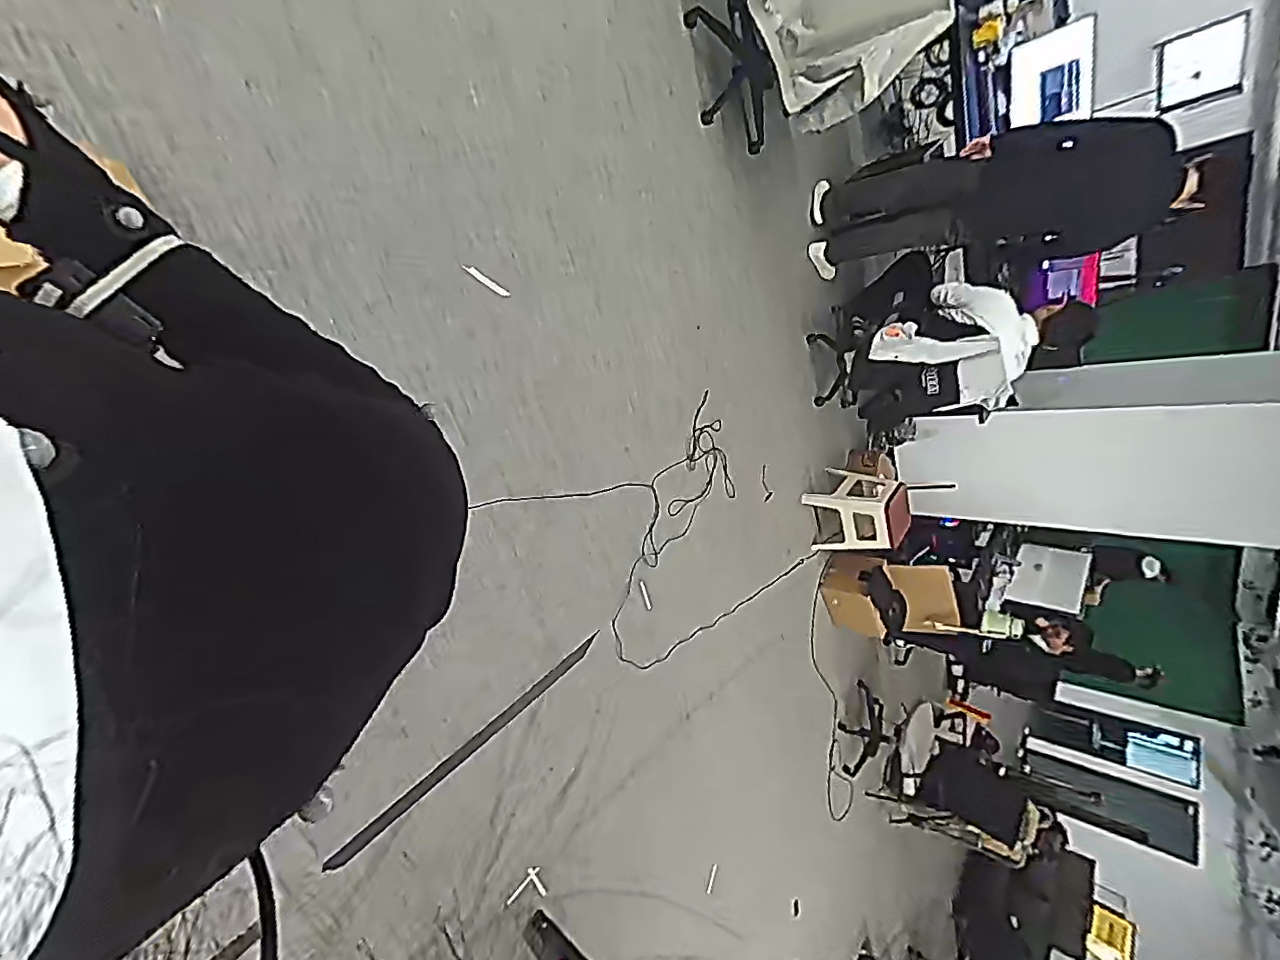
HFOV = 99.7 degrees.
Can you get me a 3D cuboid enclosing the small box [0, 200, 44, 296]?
[{"bbox_3d":[-1.066,-0.379,0.816,0.168,0.176,0.179,-35,116,-38],"label":"small box"}]
